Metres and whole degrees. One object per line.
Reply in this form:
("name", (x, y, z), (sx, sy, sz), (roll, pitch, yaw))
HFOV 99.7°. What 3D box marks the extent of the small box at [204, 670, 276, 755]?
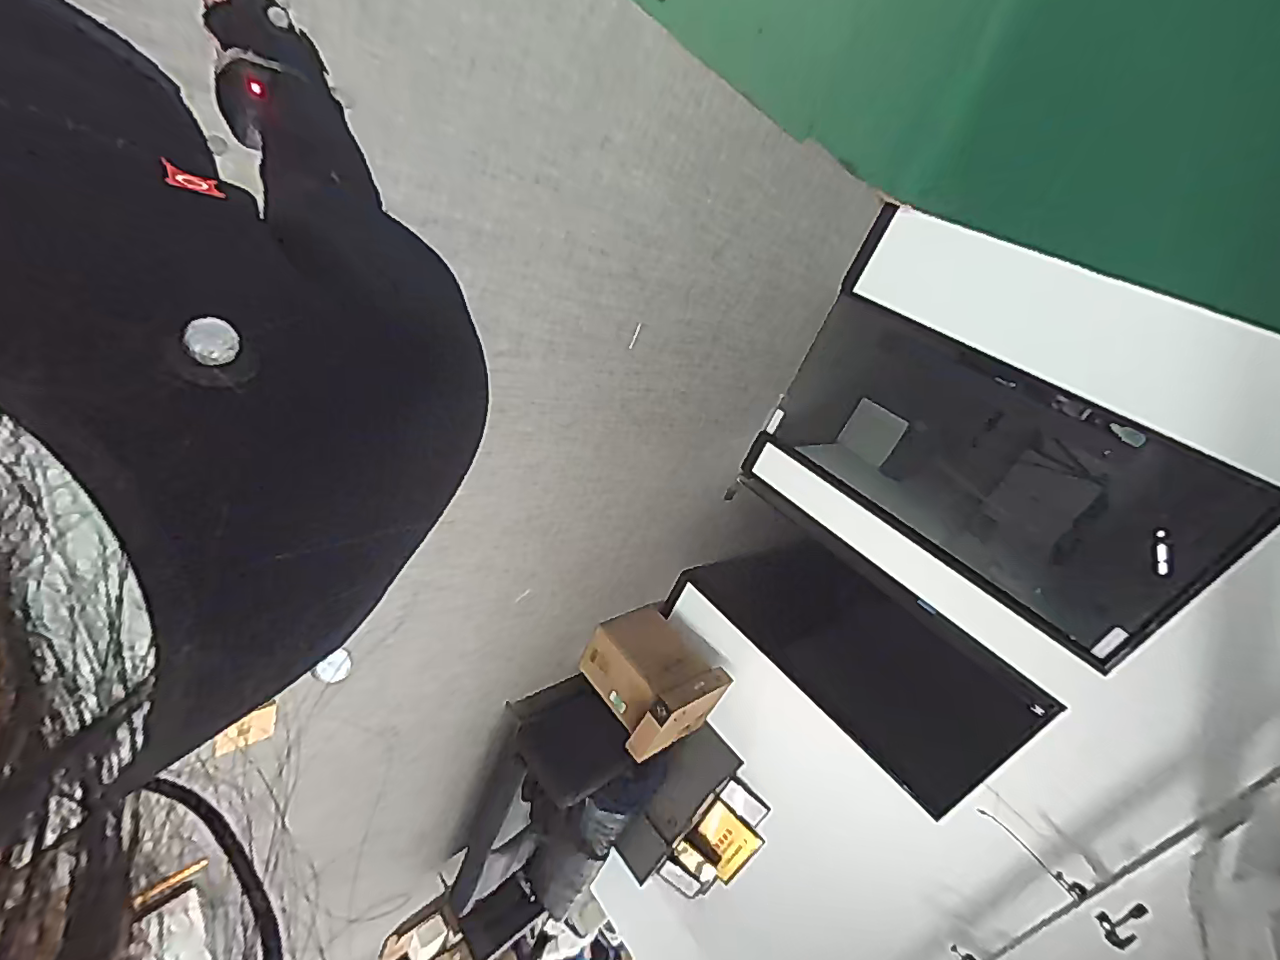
("small box", (-1.370, 0.789, 1.850), (0.168, 0.176, 0.179), (-9, 131, -47))
